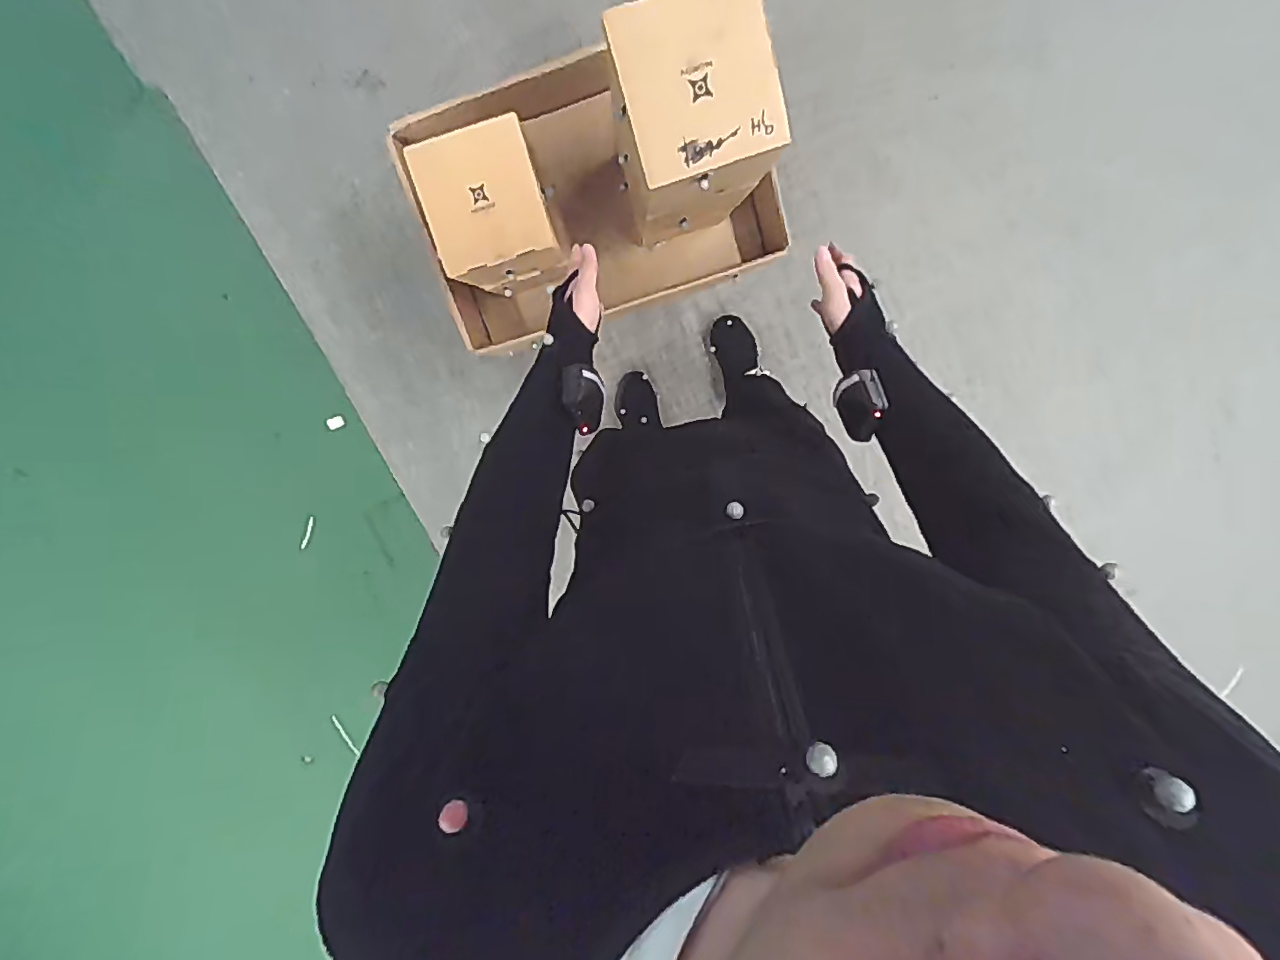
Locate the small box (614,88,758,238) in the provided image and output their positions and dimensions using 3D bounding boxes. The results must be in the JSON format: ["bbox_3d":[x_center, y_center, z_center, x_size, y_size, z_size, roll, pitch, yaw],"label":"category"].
[{"bbox_3d":[0.063,-0.485,0.811,0.168,0.176,0.179,-15,106,4],"label":"small box"}]

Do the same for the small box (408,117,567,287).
[{"bbox_3d":[-0.221,-0.411,0.831,0.168,0.176,0.179,-15,105,3],"label":"small box"}]

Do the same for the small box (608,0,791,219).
[{"bbox_3d":[0.065,-0.443,0.653,0.168,0.176,0.179,-15,105,5],"label":"small box"}]
